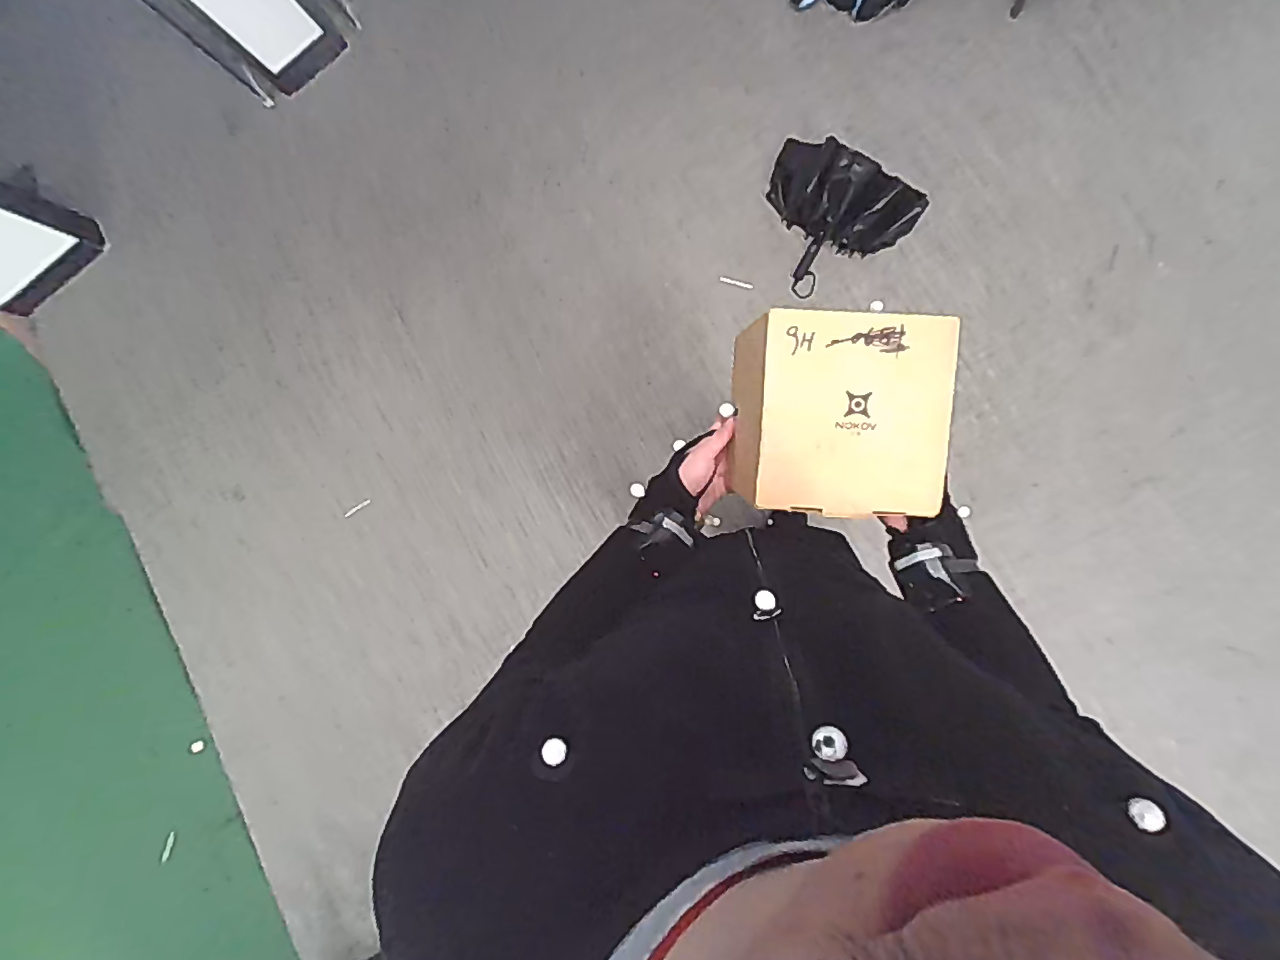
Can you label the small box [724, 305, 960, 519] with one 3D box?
[{"bbox_3d":[0.182,-0.066,0.542,0.168,0.176,0.179,3,97,-2],"label":"small box"}]
